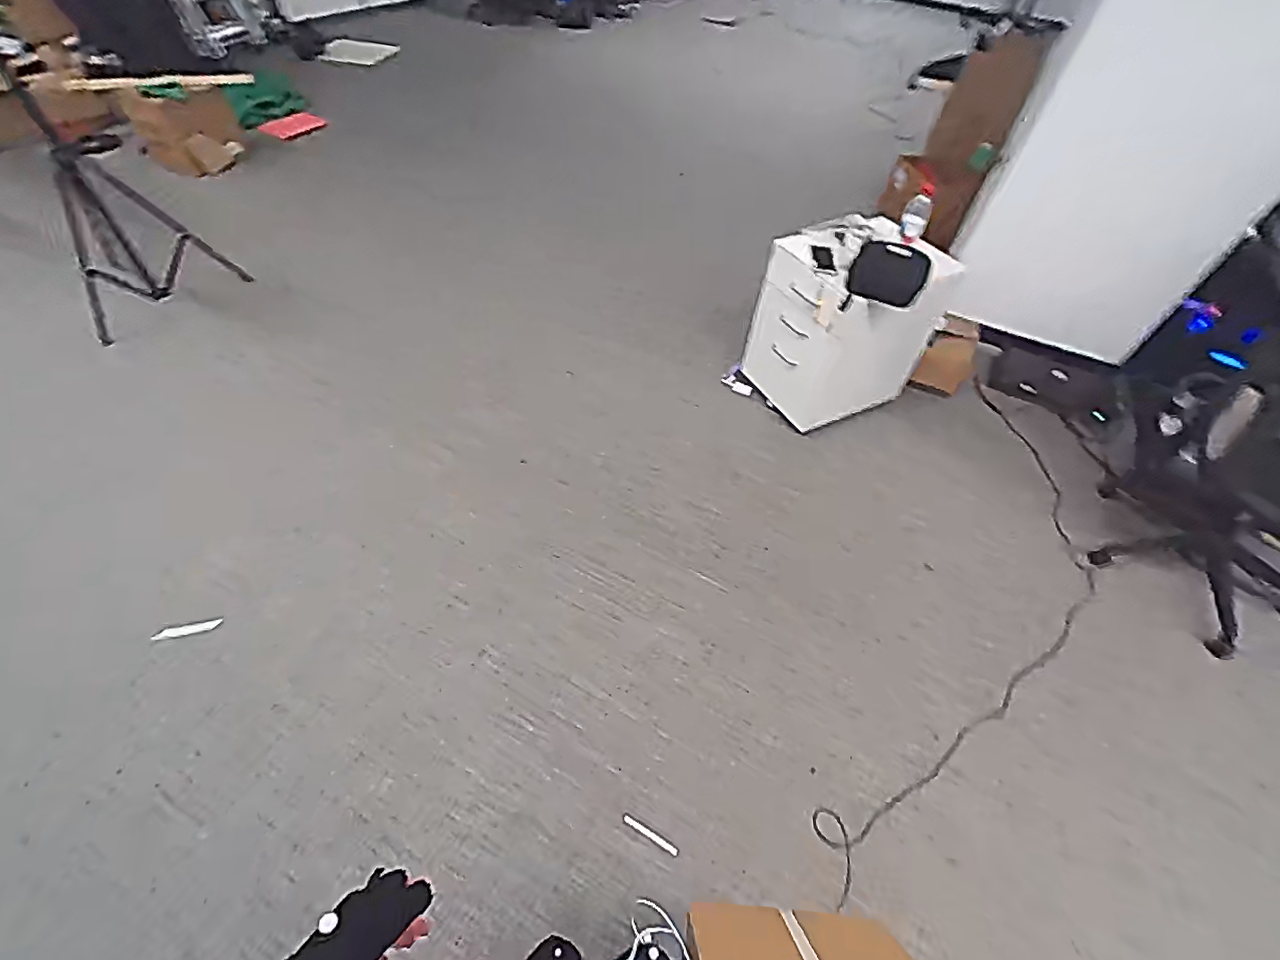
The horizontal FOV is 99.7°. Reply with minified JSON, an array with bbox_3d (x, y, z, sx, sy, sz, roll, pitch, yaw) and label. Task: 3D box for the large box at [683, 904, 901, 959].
[{"bbox_3d":[0.215,0.795,0.643,0.320,0.408,0.320,5,75,1],"label":"large box"}]
